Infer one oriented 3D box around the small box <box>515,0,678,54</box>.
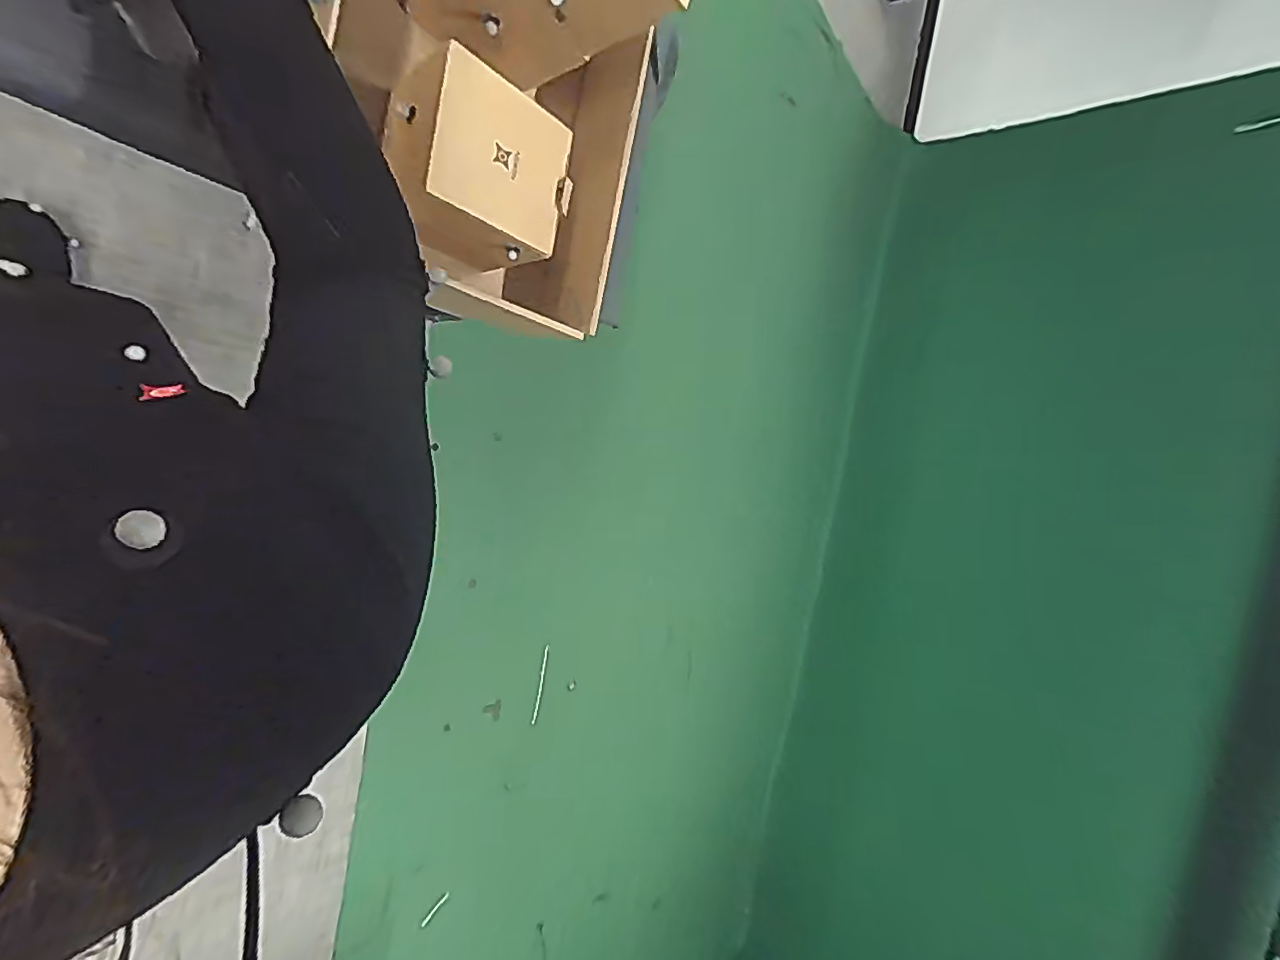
[{"bbox_3d":[-0.054,-0.618,0.580,0.168,0.176,0.179,10,94,-50],"label":"small box"}]
